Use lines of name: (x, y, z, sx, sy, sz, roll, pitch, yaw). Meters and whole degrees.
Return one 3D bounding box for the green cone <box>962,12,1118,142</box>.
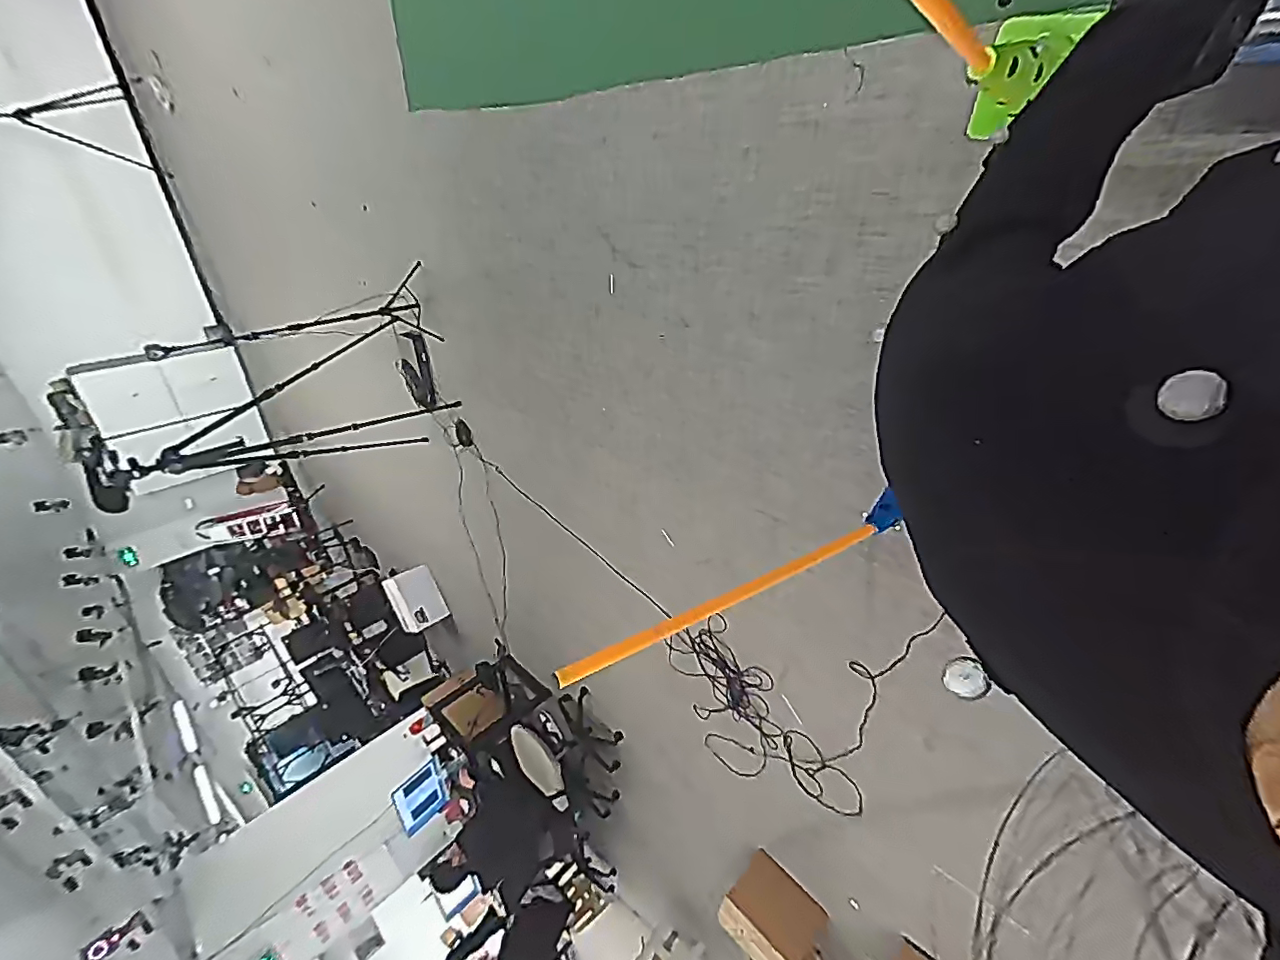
green cone: (0.660, -0.726, 0.958, 0.202, 0.368, 0.200, 30, 131, 35)
